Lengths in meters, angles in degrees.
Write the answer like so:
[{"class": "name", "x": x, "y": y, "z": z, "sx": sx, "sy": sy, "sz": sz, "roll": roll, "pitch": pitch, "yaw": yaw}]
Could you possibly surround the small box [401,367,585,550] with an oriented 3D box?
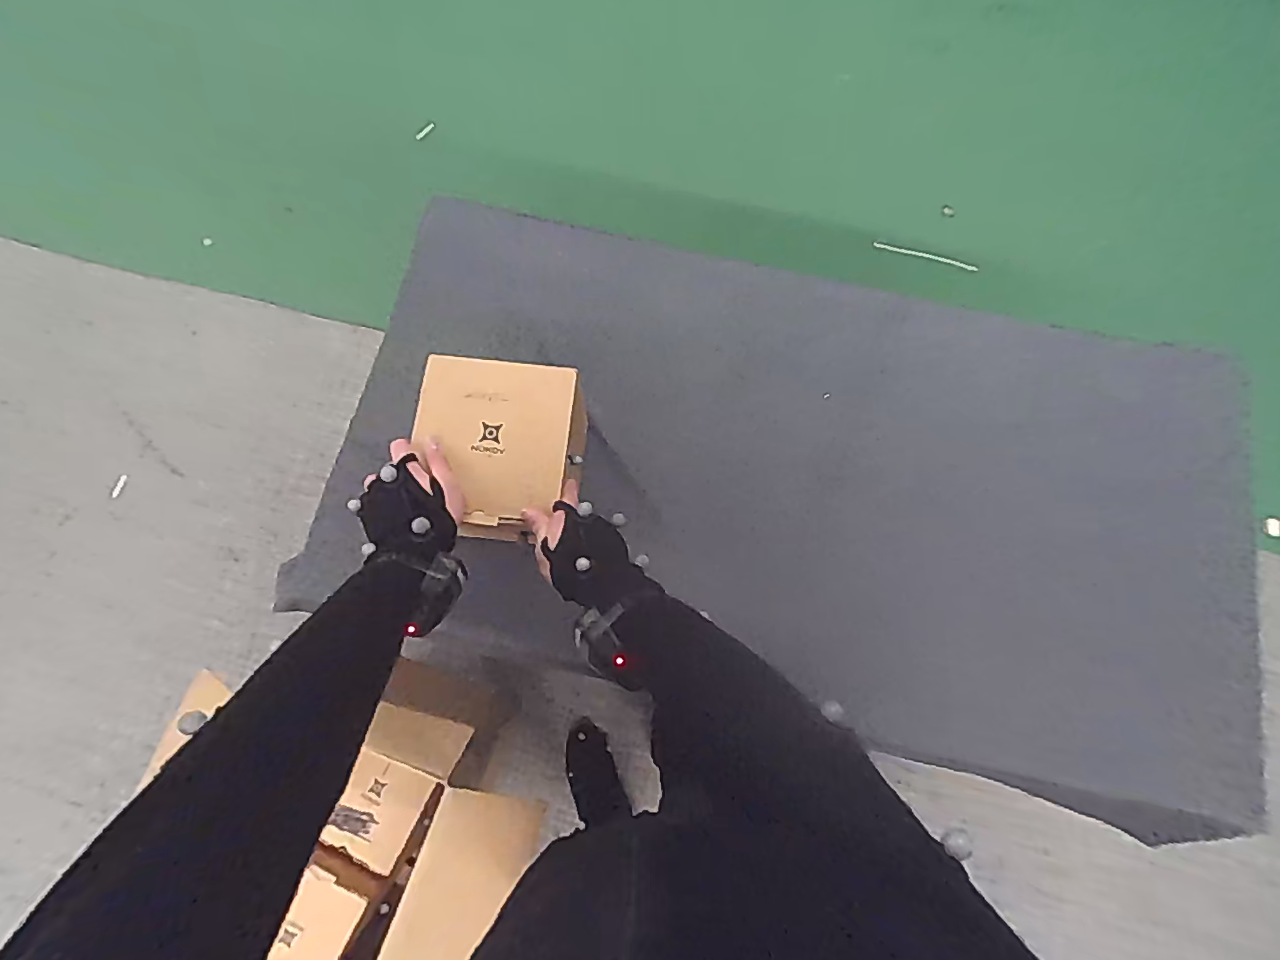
[{"class": "small box", "x": -0.160, "y": -0.015, "z": 0.652, "sx": 0.168, "sy": 0.176, "sz": 0.179, "roll": 5, "pitch": 75, "yaw": -1}]
